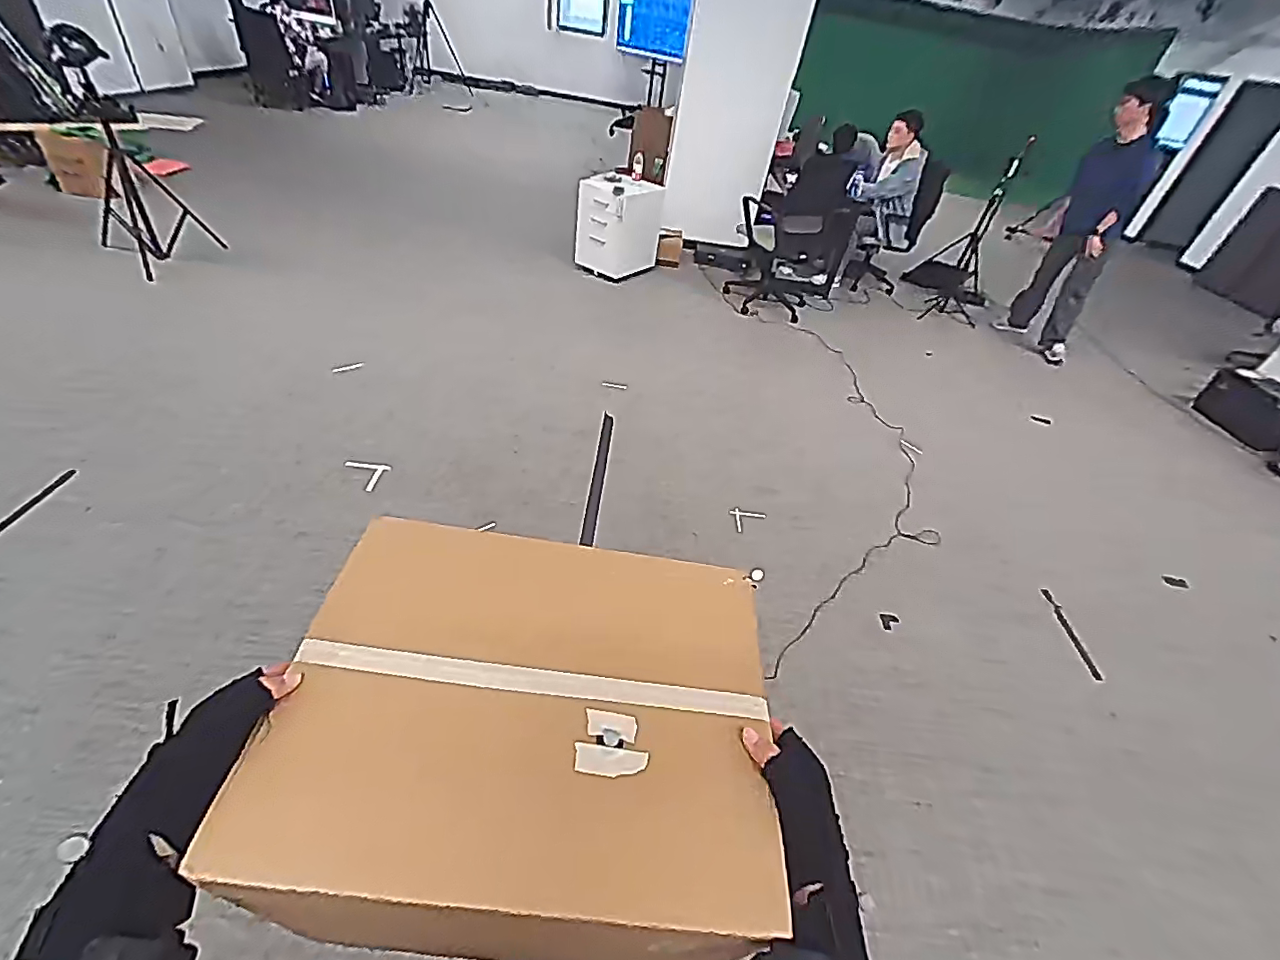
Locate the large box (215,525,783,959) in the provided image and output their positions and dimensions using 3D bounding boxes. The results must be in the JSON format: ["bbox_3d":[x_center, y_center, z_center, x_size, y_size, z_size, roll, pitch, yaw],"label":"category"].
[{"bbox_3d":[-0.109,0.285,0.583,0.408,0.320,0.320,9,44,-4],"label":"large box"}]
